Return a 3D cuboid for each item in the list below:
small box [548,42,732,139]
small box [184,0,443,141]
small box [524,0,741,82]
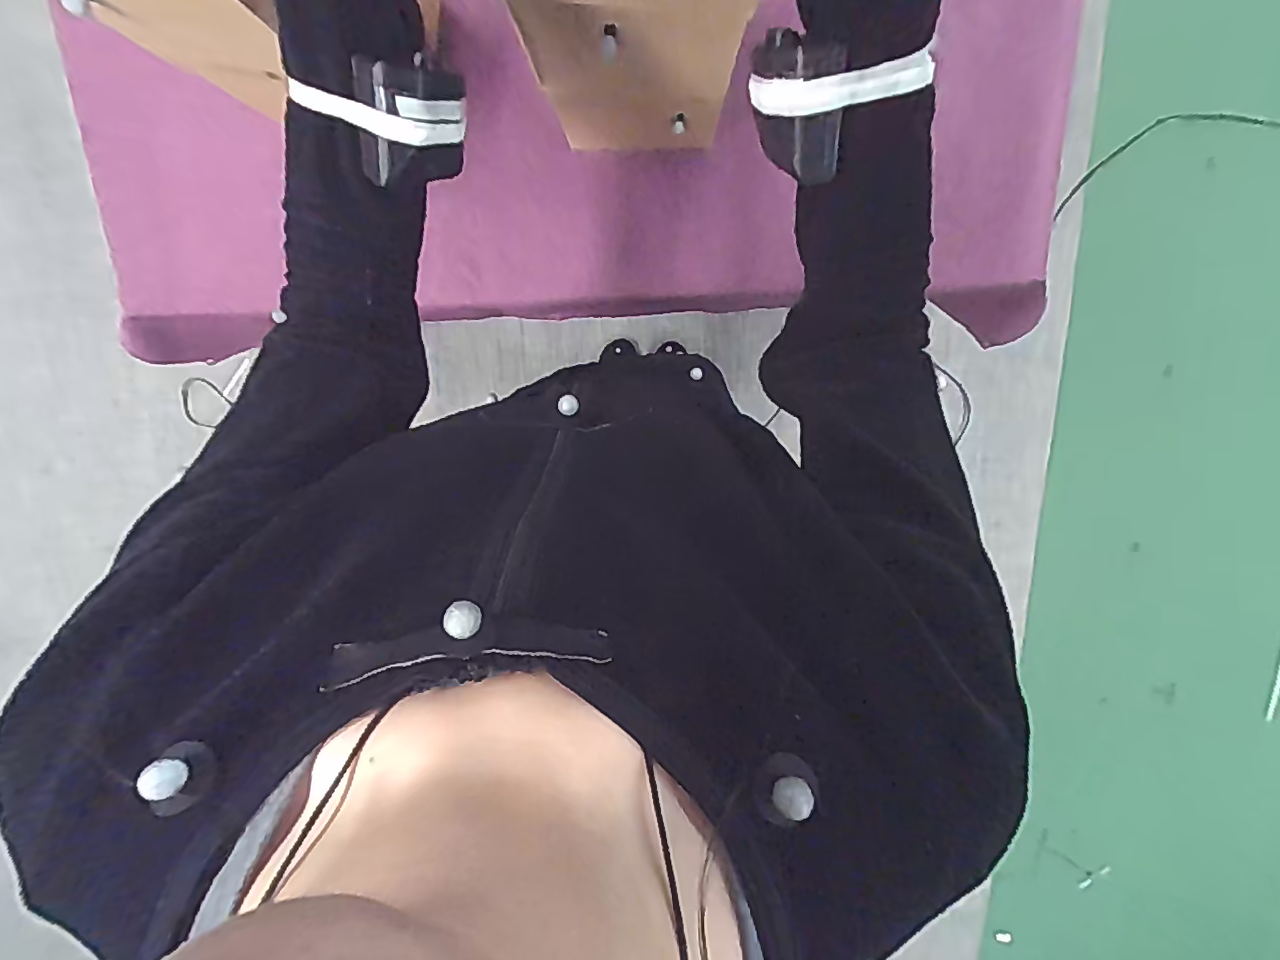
[{"bbox_3d":[0.001,-0.483,0.572,0.179,0.176,0.168,0,103,1],"label":"small box"},{"bbox_3d":[-0.332,-0.491,0.575,0.179,0.176,0.168,9,103,-2],"label":"small box"},{"bbox_3d":[-0.004,-0.438,0.414,0.179,0.176,0.168,2,104,1],"label":"small box"}]
